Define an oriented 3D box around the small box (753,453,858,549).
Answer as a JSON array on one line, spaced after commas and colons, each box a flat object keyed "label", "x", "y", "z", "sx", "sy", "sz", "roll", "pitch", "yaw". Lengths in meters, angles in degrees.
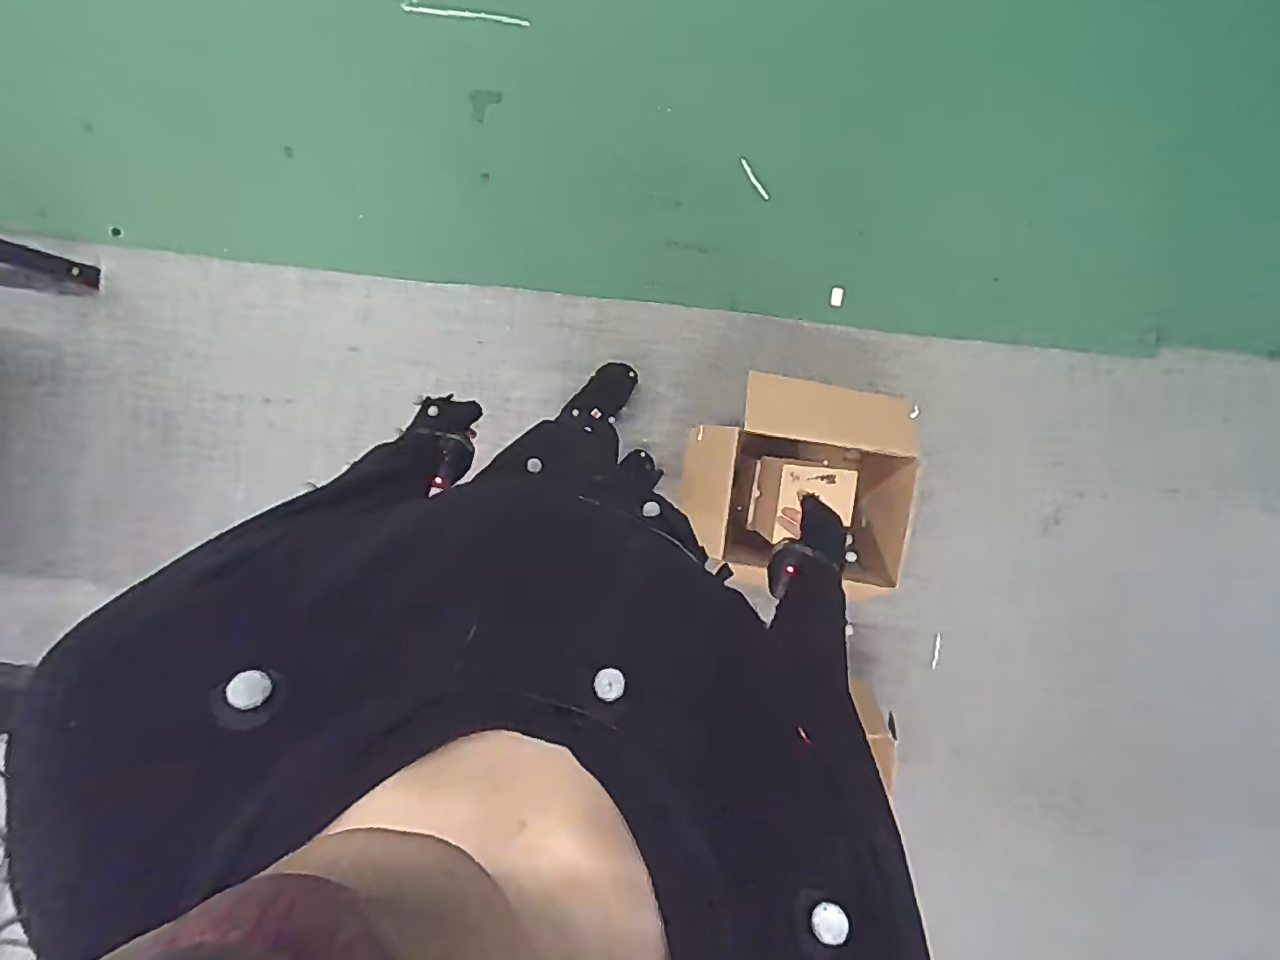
[{"label": "small box", "x": 0.364, "y": 0.042, "z": 1.223, "sx": 0.168, "sy": 0.176, "sz": 0.179, "roll": 7, "pitch": 99, "yaw": -5}]
